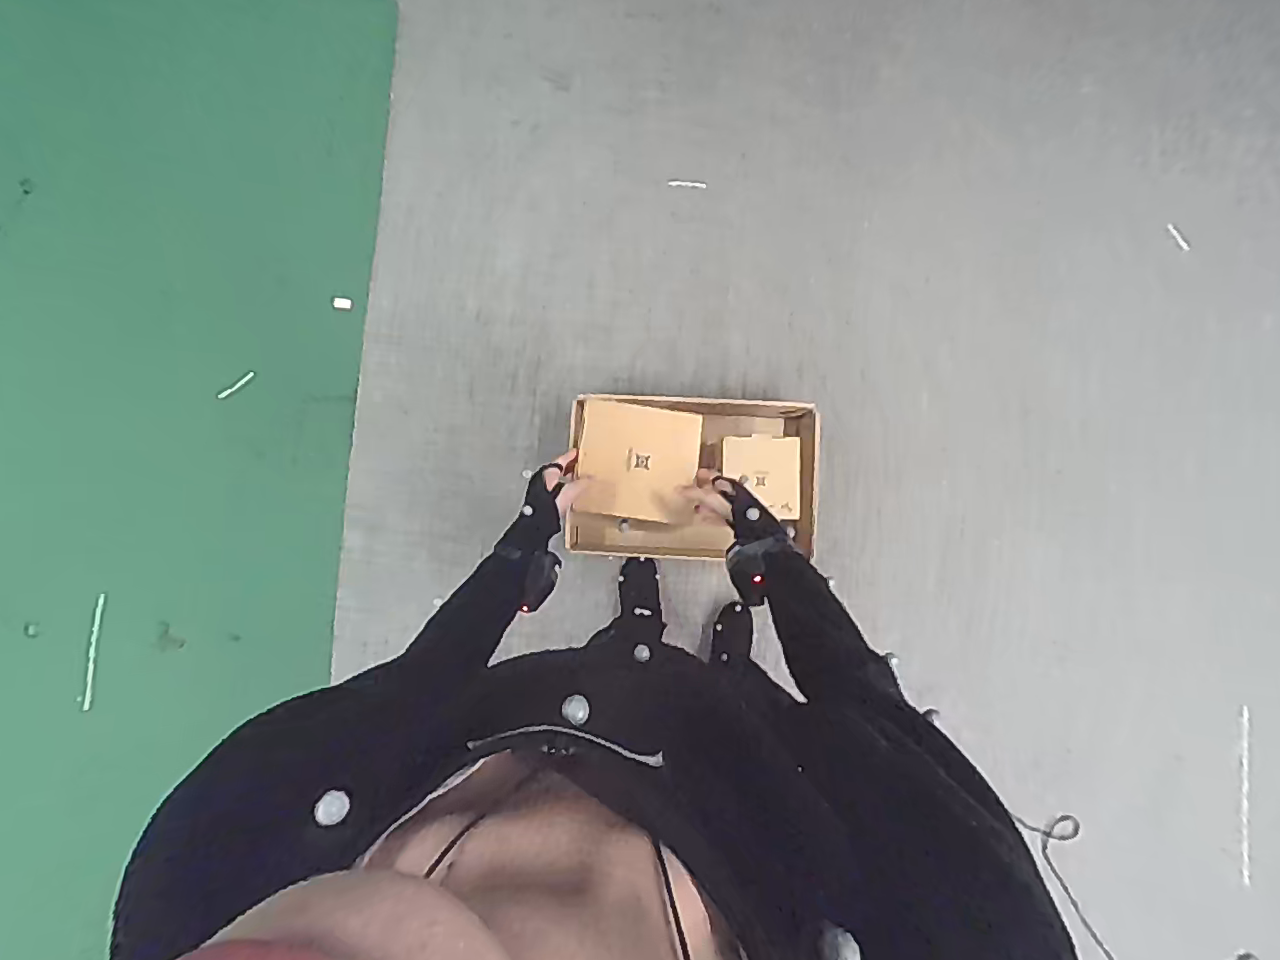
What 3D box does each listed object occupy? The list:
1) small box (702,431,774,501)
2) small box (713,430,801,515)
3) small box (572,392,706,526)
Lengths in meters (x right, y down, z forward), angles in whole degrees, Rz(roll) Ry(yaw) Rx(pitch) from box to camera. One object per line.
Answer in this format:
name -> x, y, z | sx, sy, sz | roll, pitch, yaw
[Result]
small box -> 0.252, -0.031, 1.382 | 0.179, 0.176, 0.168 | -3, 89, 0
small box -> 0.257, -0.012, 1.217 | 0.168, 0.176, 0.179 | 1, 88, 1
small box -> -0.008, -0.022, 0.841 | 0.179, 0.176, 0.168 | 7, 79, -6
